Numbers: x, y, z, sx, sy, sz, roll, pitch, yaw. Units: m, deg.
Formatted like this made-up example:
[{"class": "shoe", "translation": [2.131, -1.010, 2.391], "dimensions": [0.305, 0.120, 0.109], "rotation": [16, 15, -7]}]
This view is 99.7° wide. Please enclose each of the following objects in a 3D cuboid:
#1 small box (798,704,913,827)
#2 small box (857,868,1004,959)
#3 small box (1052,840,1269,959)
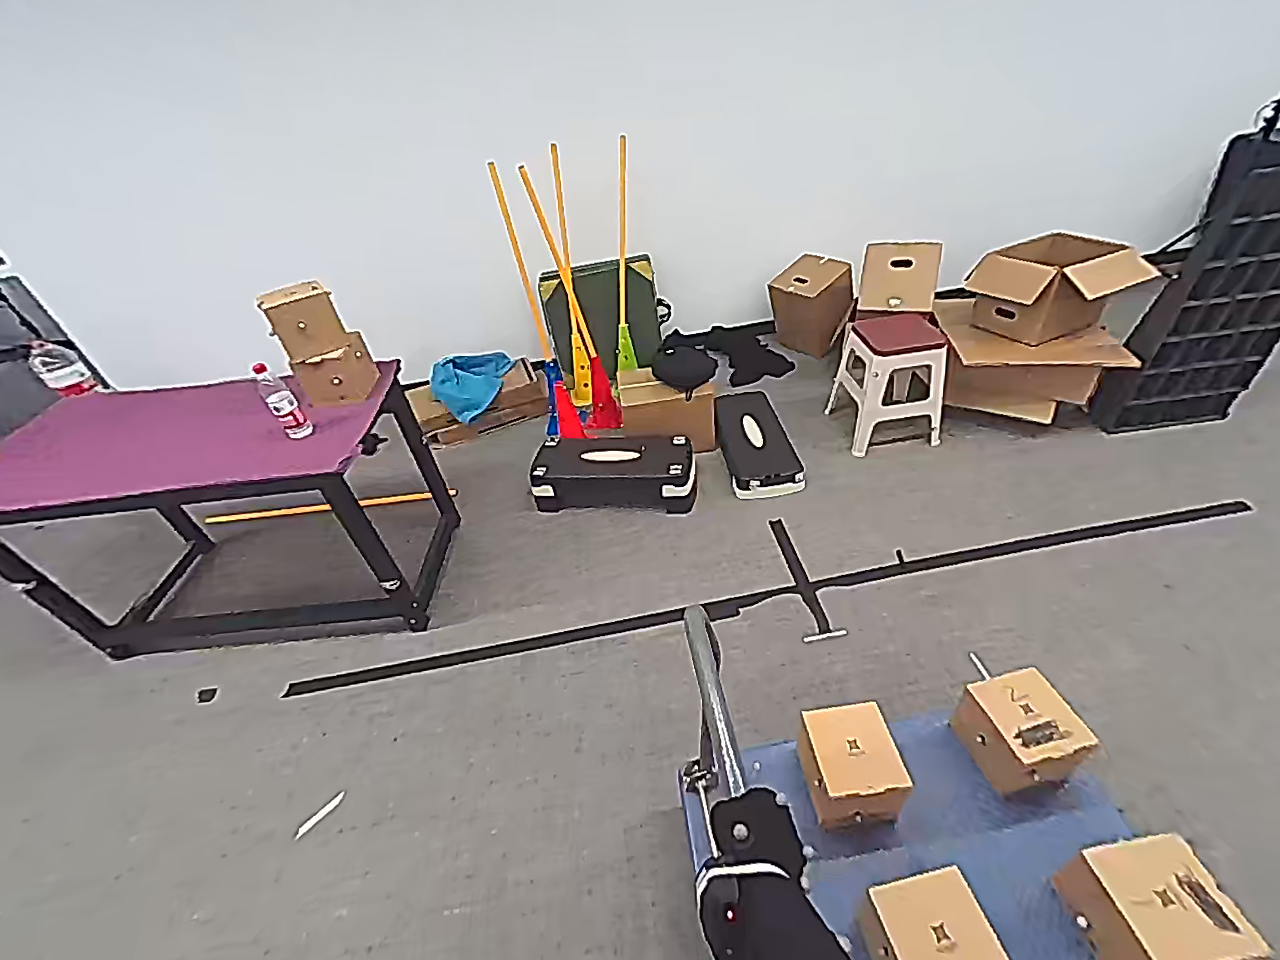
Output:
[{"class": "small box", "translation": [0.447, 0.610, 1.156], "dimensions": [0.168, 0.176, 0.179], "rotation": [-8, 40, 0]}, {"class": "small box", "translation": [0.490, 0.801, 0.916], "dimensions": [0.168, 0.176, 0.179], "rotation": [-11, 39, -3]}, {"class": "small box", "translation": [0.861, 0.744, 0.920], "dimensions": [0.179, 0.176, 0.168], "rotation": [-10, 39, 0]}]
